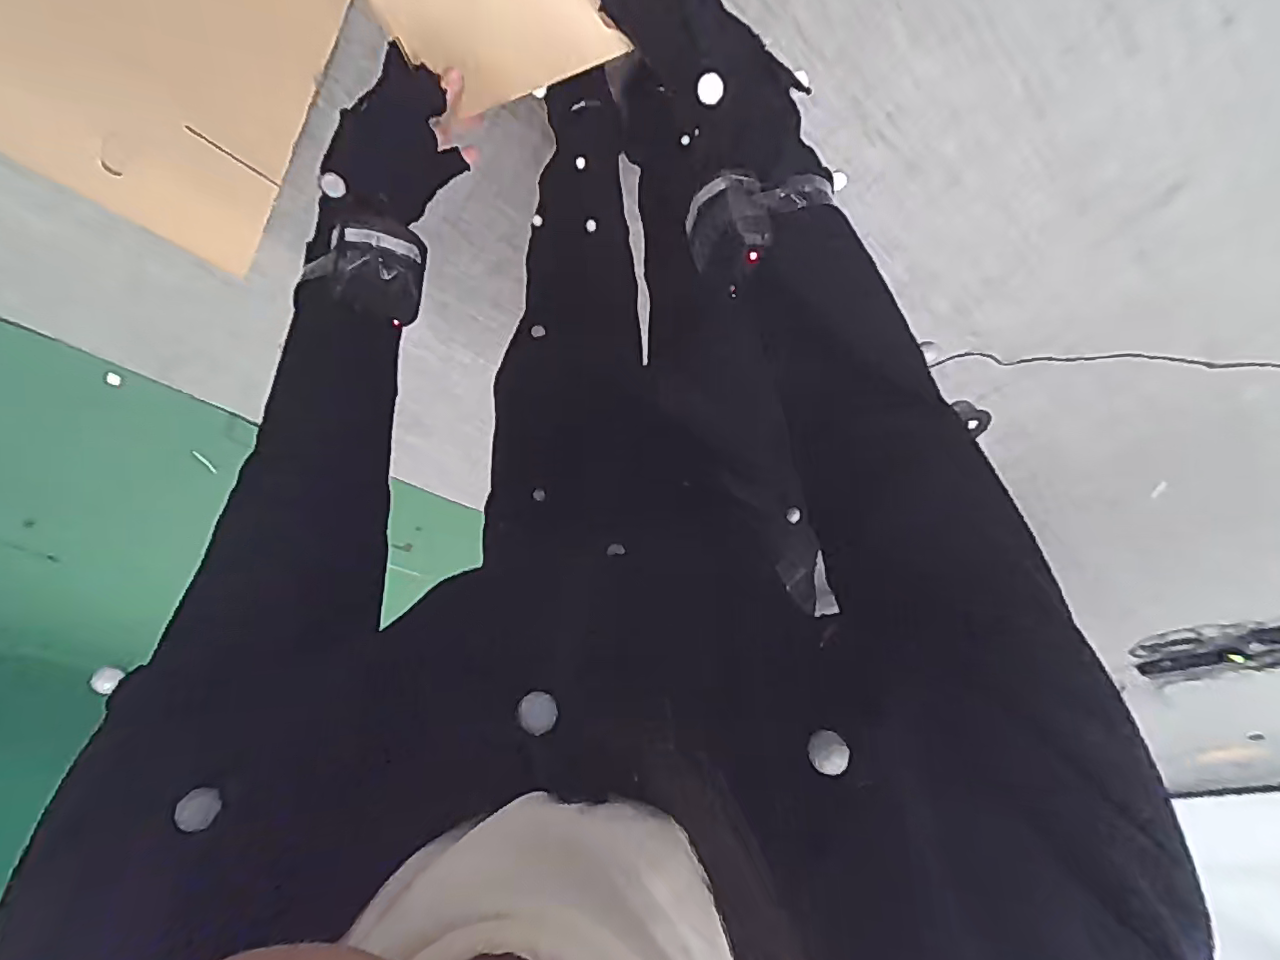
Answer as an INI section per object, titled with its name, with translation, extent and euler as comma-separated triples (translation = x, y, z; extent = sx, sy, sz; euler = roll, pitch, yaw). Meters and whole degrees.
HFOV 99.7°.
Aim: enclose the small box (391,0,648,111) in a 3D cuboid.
[small box]
translation = -0.097, -0.425, 0.419
extent = 0.179, 0.176, 0.168
euler = -14, 132, 17
